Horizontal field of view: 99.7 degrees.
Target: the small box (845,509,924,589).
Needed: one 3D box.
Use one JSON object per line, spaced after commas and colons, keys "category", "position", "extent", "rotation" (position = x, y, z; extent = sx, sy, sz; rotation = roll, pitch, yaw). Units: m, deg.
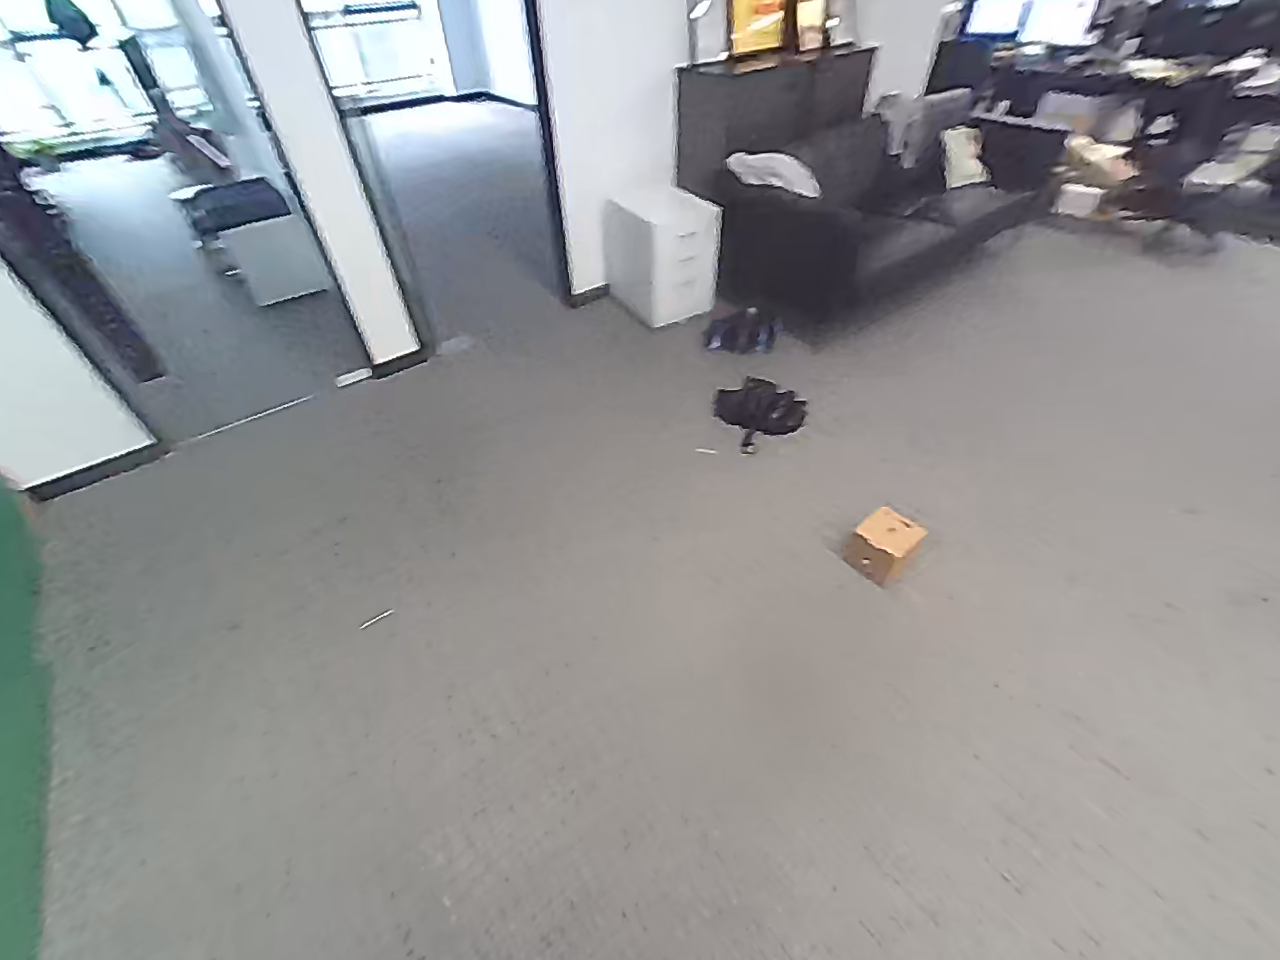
{"category": "small box", "position": [0.823, 0.238, 1.843], "extent": [0.179, 0.176, 0.168], "rotation": [-30, 51, -26]}
